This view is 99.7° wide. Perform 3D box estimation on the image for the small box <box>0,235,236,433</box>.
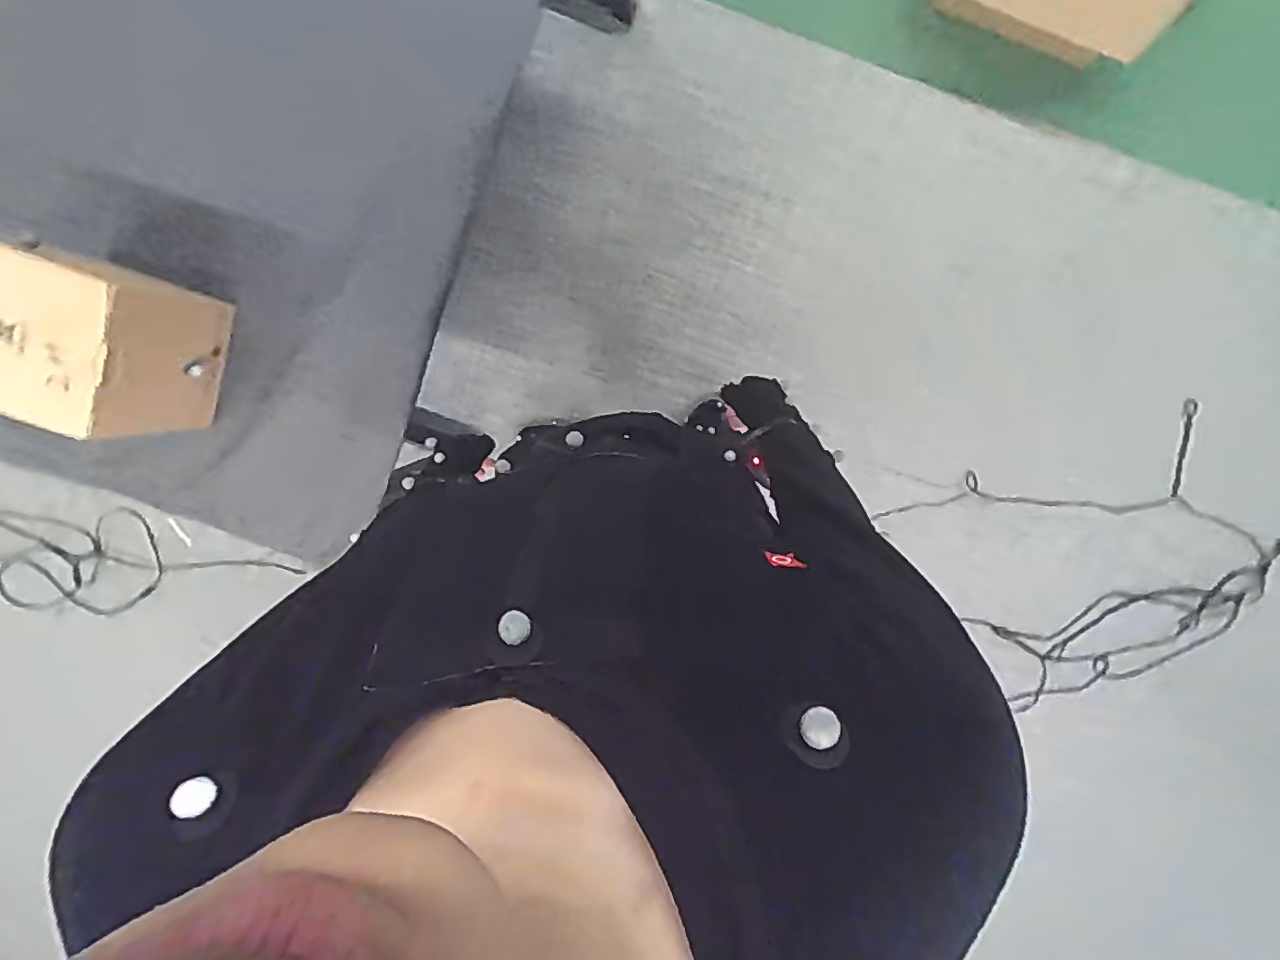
[{"bbox_3d":[-0.624,-0.163,0.622,0.179,0.176,0.168,18,100,-3],"label":"small box"}]
